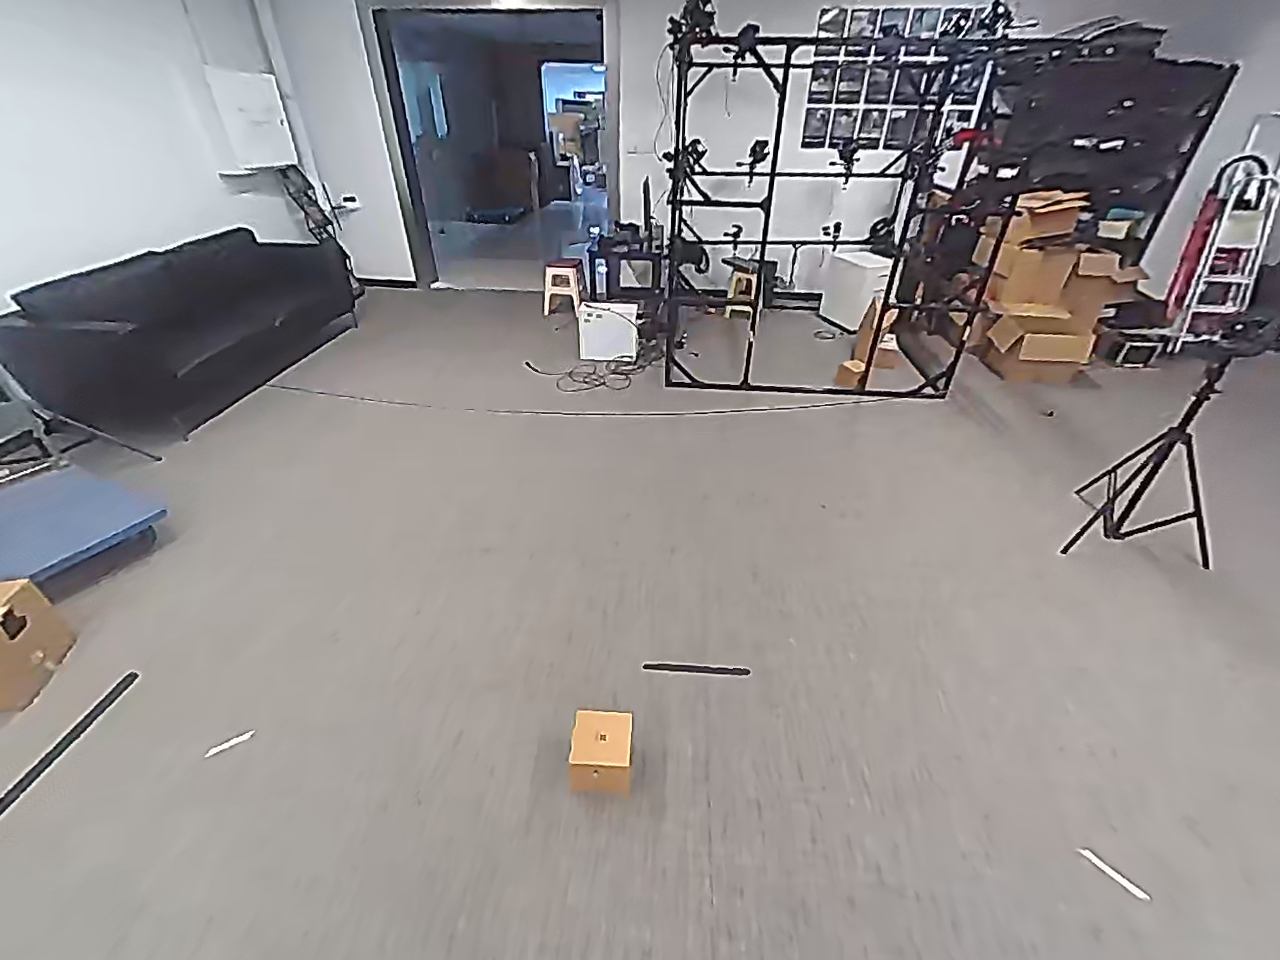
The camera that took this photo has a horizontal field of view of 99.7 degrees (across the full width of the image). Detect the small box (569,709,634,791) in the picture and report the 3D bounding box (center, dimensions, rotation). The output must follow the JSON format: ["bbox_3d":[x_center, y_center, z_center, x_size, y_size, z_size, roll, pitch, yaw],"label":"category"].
[{"bbox_3d":[-0.110,0.822,1.642,0.179,0.176,0.168,2,35,3],"label":"small box"}]
